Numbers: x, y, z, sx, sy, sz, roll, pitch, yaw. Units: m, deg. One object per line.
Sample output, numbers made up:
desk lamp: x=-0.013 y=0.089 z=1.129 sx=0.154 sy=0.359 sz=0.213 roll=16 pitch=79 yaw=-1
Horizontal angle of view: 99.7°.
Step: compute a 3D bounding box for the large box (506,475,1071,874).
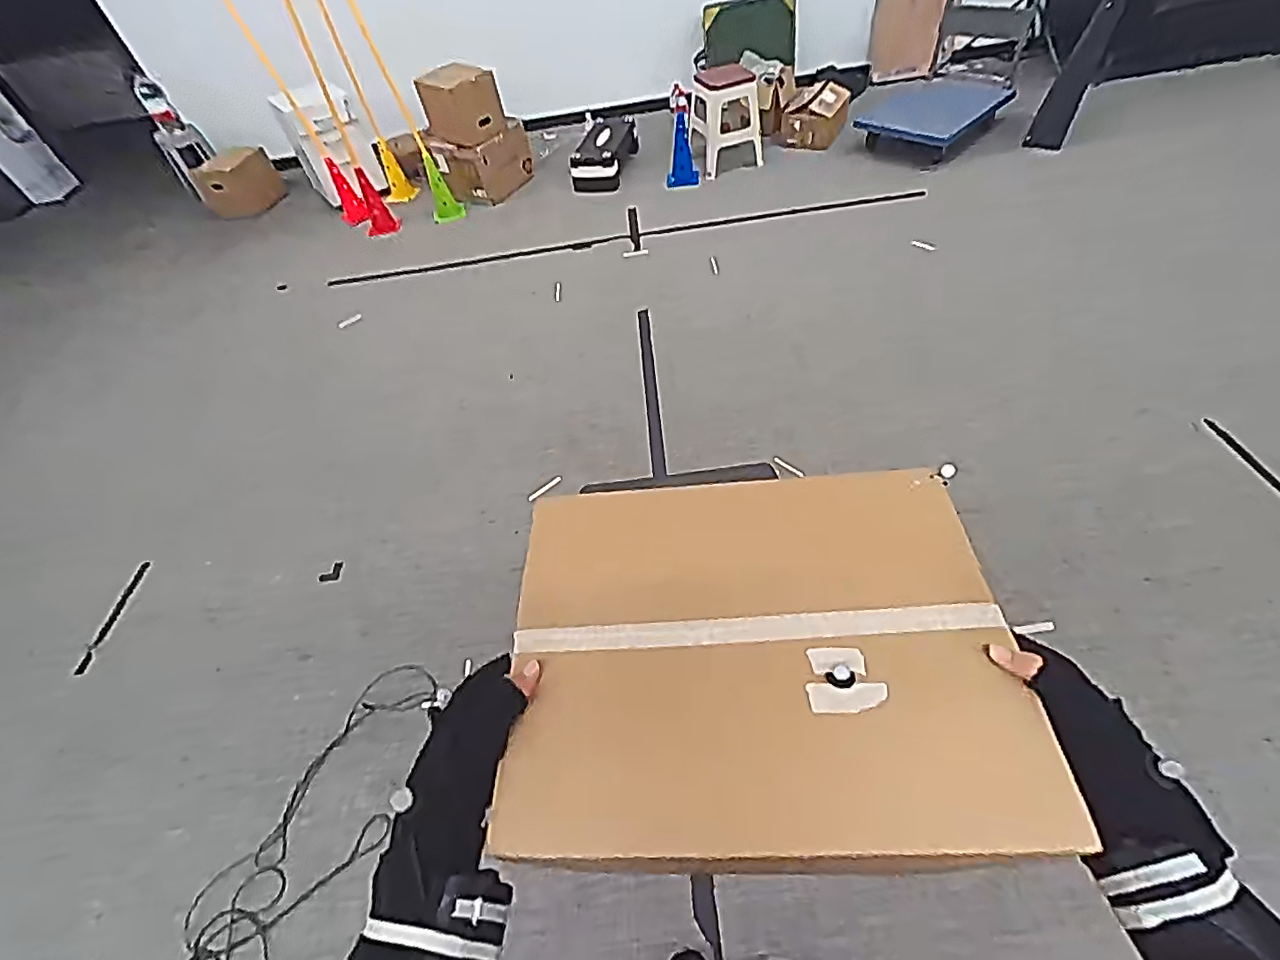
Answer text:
large box: x=0.111 y=0.224 z=0.586 sx=0.408 sy=0.320 sz=0.320 roll=-5 pitch=52 yaw=6
